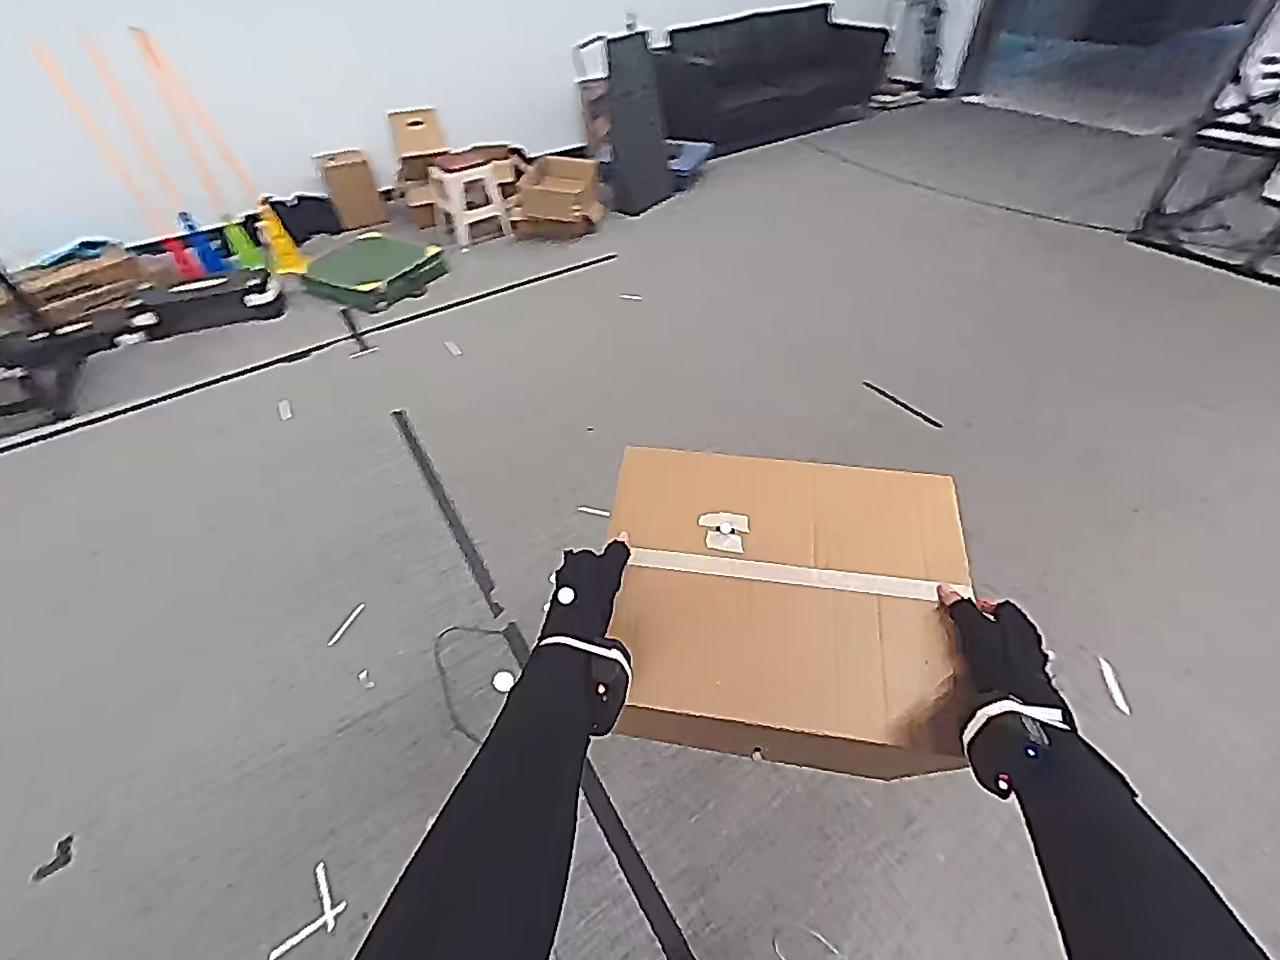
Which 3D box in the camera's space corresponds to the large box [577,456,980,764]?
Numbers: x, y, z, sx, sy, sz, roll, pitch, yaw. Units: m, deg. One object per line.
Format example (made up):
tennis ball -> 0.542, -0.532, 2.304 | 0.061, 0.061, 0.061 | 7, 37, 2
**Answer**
large box -> 0.160, 0.188, 0.741 | 0.408, 0.320, 0.320 | 5, 58, 7
